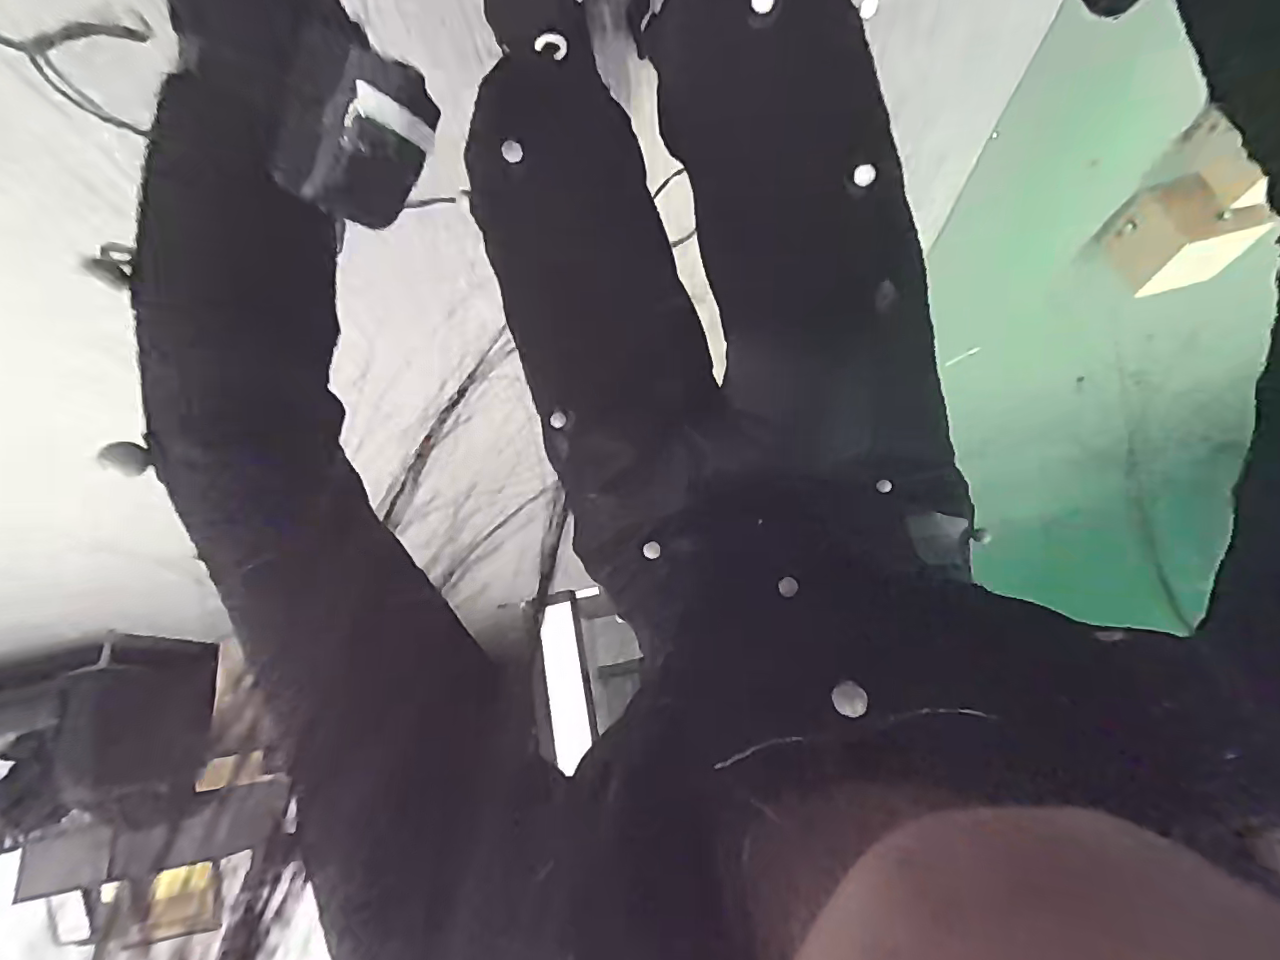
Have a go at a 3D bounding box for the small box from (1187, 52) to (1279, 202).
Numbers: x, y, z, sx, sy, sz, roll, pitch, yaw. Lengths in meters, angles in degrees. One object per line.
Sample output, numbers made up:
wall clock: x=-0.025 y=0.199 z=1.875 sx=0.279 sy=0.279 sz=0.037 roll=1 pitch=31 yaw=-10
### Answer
small box: x=1.160 y=-0.639 z=0.963 sx=0.179 sy=0.176 sz=0.168 roll=-13 pitch=159 yaw=1

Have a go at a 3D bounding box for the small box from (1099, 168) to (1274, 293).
small box: x=1.188 y=-0.553 z=1.193 sx=0.179 sy=0.176 sz=0.168 roll=-14 pitch=158 yaw=4
